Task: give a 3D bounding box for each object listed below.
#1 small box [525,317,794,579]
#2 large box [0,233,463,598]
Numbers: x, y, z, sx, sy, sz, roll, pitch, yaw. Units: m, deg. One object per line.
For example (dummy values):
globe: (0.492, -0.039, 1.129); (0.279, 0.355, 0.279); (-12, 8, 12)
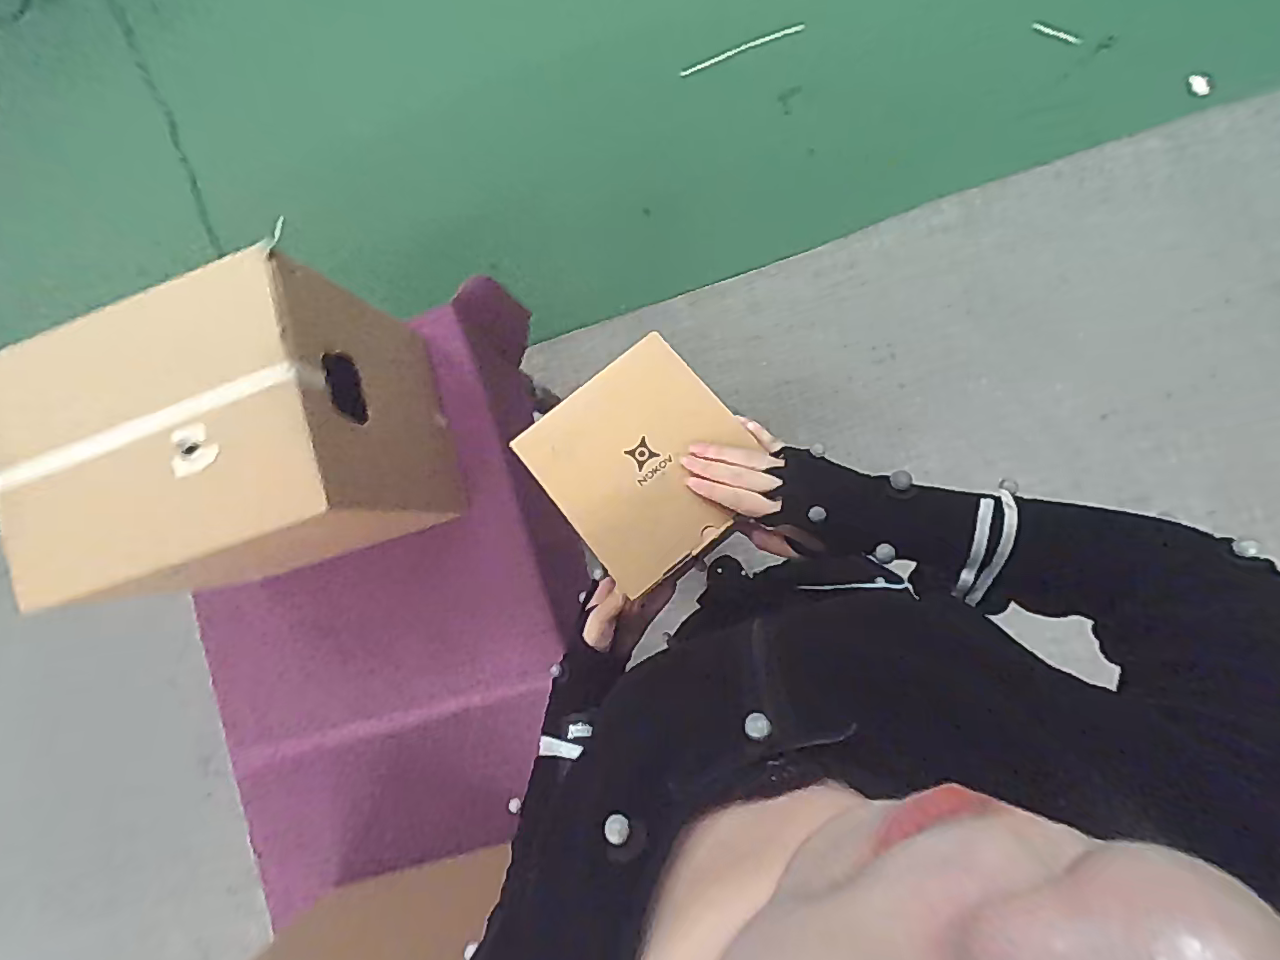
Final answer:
small box: (0.016, -0.016, 0.536); (0.168, 0.176, 0.179); (-38, 79, -6)
large box: (-0.527, -0.057, 0.748); (0.408, 0.320, 0.320); (-18, 84, 6)
